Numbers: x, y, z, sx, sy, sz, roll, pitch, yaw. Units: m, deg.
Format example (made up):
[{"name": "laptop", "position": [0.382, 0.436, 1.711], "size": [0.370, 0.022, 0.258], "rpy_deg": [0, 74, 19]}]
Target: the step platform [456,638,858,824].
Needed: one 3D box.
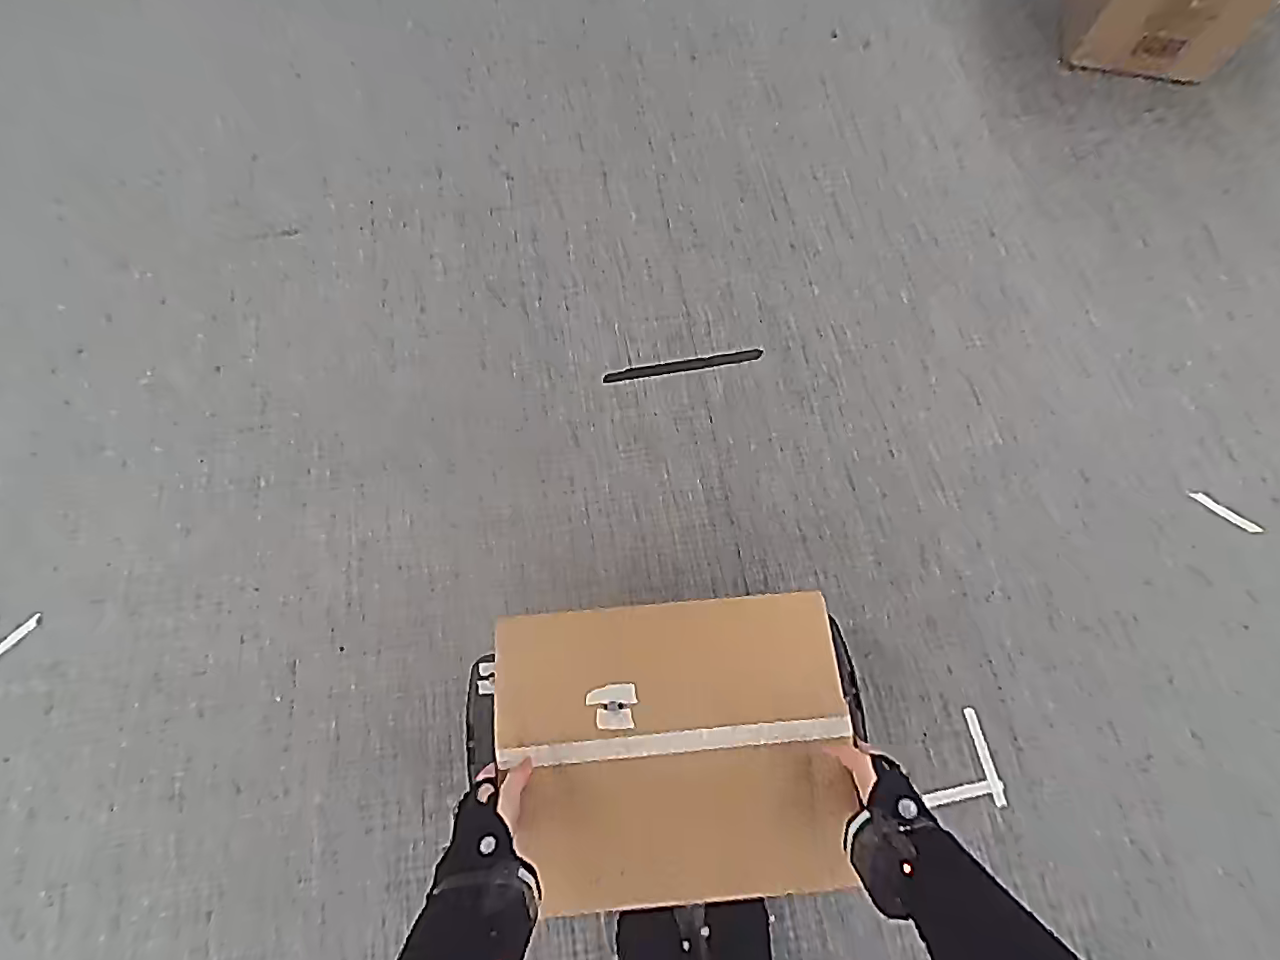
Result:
[{"name": "step platform", "position": [0.027, 0.430, 0.974], "size": [0.684, 0.204, 0.286], "rpy_deg": [-3, 72, 0]}]

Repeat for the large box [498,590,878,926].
[{"name": "large box", "position": [0.045, 0.343, 0.751], "size": [0.408, 0.320, 0.320], "rpy_deg": [-5, 72, 0]}]
